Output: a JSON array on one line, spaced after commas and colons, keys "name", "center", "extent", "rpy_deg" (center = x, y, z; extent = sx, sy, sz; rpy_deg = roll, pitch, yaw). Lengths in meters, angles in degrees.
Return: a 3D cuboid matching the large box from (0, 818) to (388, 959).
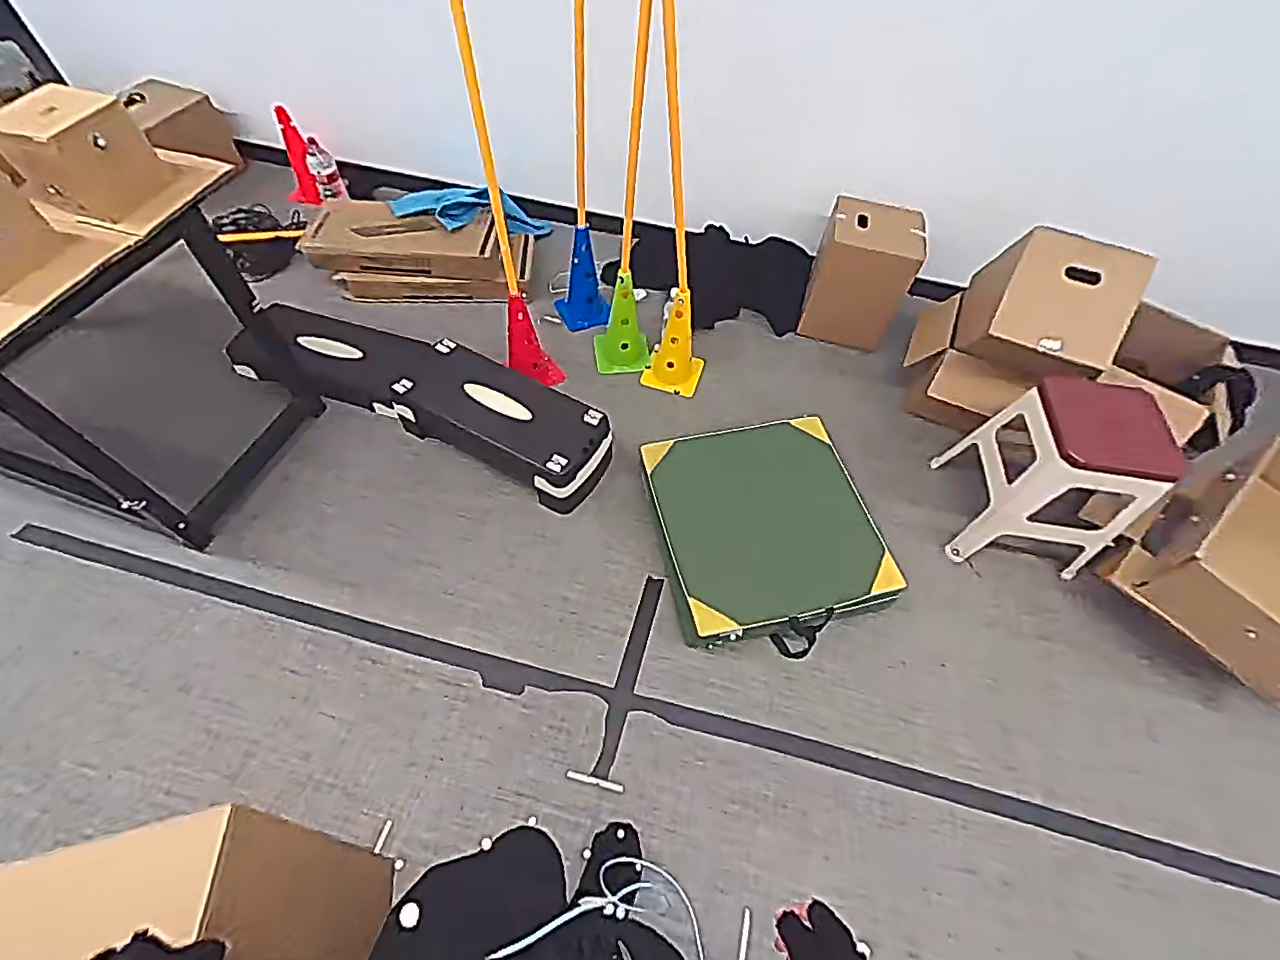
[{"name": "large box", "center": [-0.555, 0.657, 0.648], "extent": [0.320, 0.408, 0.320], "rpy_deg": [-14, 47, -4]}]
